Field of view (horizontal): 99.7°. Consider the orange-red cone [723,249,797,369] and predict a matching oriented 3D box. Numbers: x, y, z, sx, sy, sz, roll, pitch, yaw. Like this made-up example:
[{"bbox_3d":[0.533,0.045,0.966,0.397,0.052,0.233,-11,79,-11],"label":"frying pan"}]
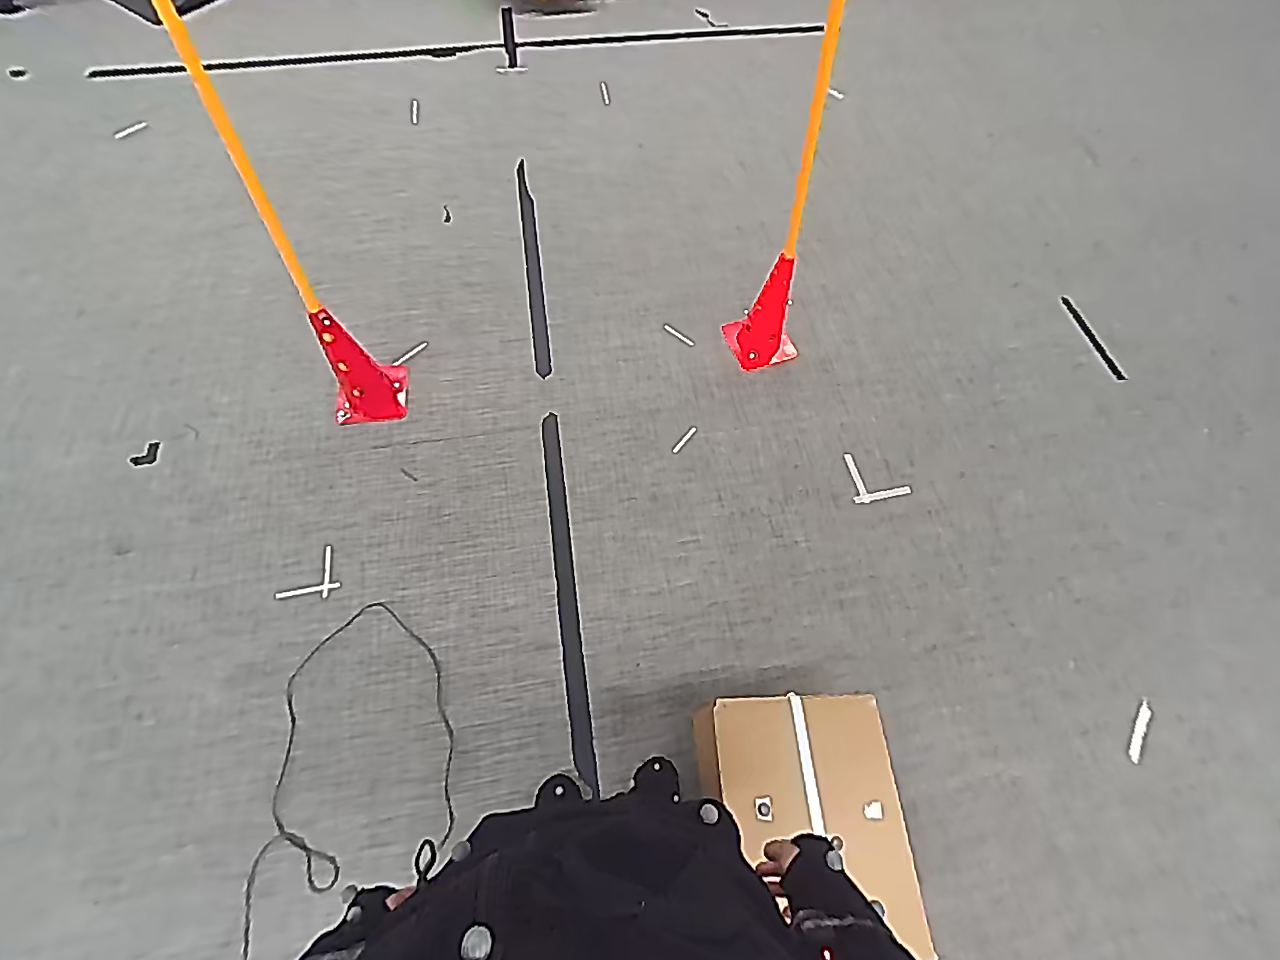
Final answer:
[{"bbox_3d":[0.392,-0.525,1.594,0.199,0.360,0.198,-16,66,-11],"label":"orange-red cone"}]
